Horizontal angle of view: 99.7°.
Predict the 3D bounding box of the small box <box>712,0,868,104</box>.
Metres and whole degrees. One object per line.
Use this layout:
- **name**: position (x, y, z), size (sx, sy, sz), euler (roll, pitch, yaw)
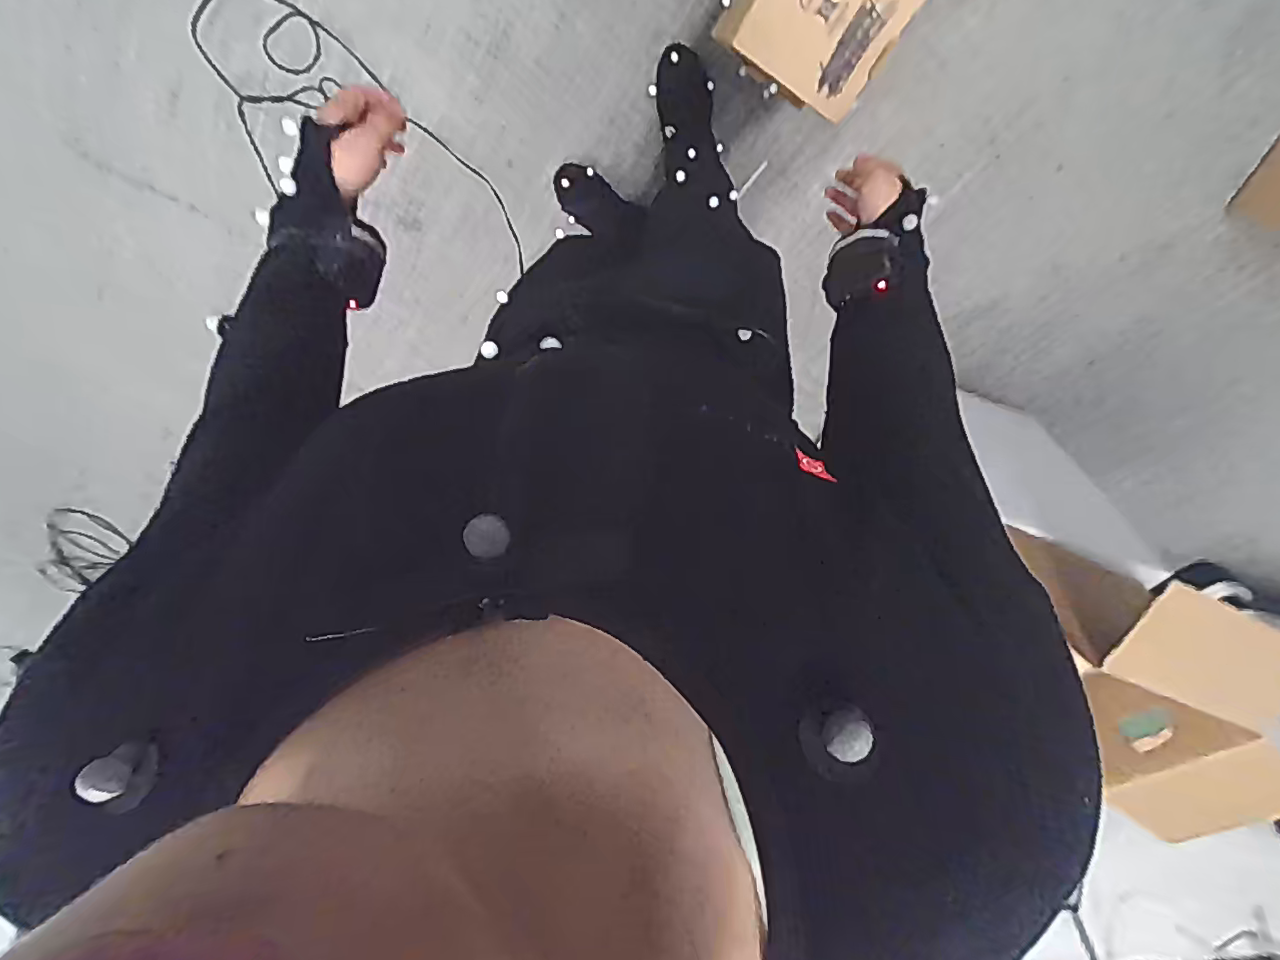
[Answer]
- **small box**: position (0.224, -0.726, 0.828), size (0.168, 0.176, 0.179), euler (26, 127, -20)
